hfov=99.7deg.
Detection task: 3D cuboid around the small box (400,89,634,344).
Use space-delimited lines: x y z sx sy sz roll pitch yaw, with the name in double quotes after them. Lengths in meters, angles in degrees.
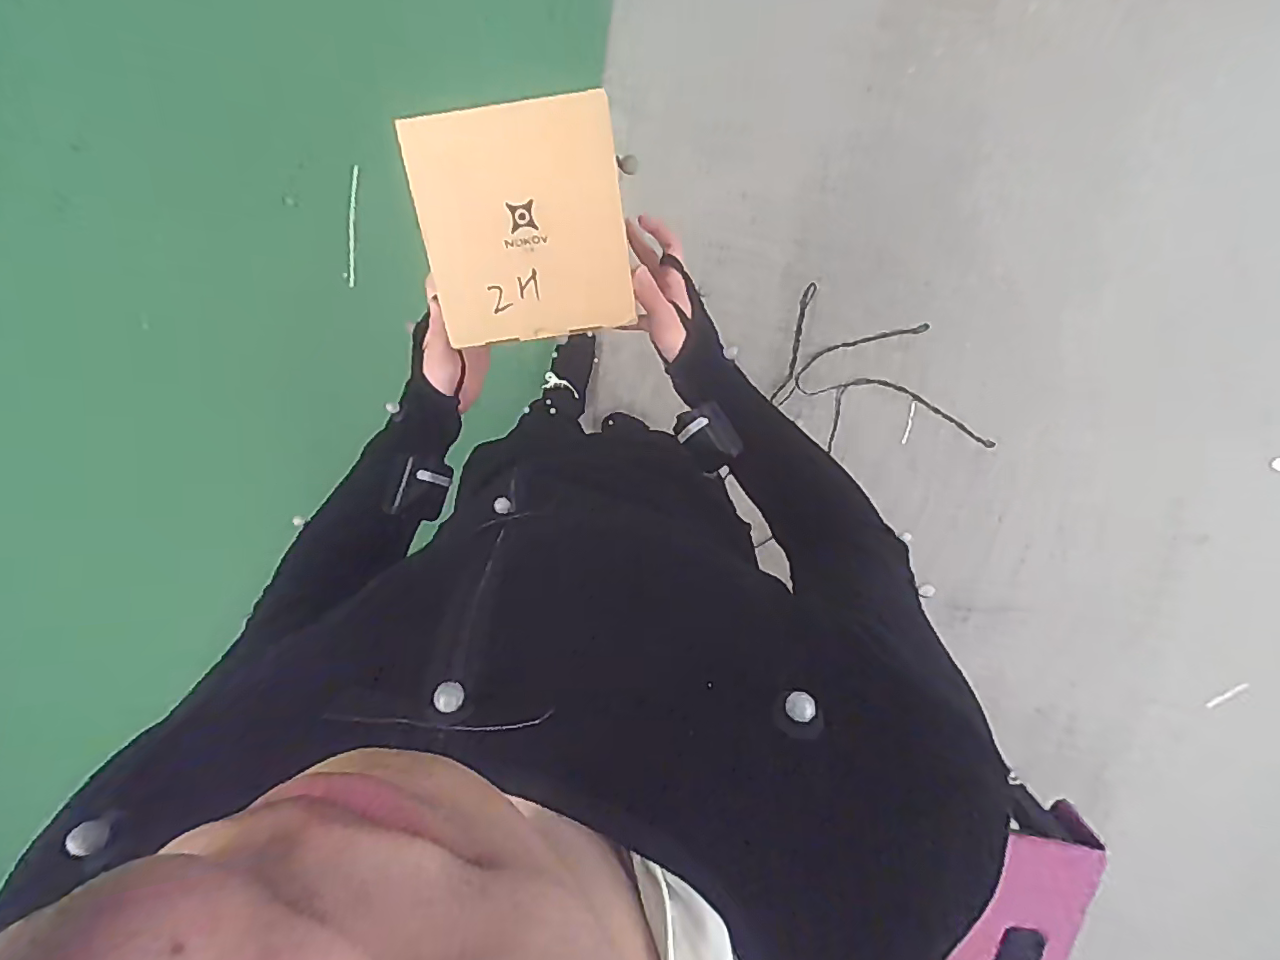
-0.096 -0.231 0.513 0.168 0.176 0.179 -6 109 2 "small box"
